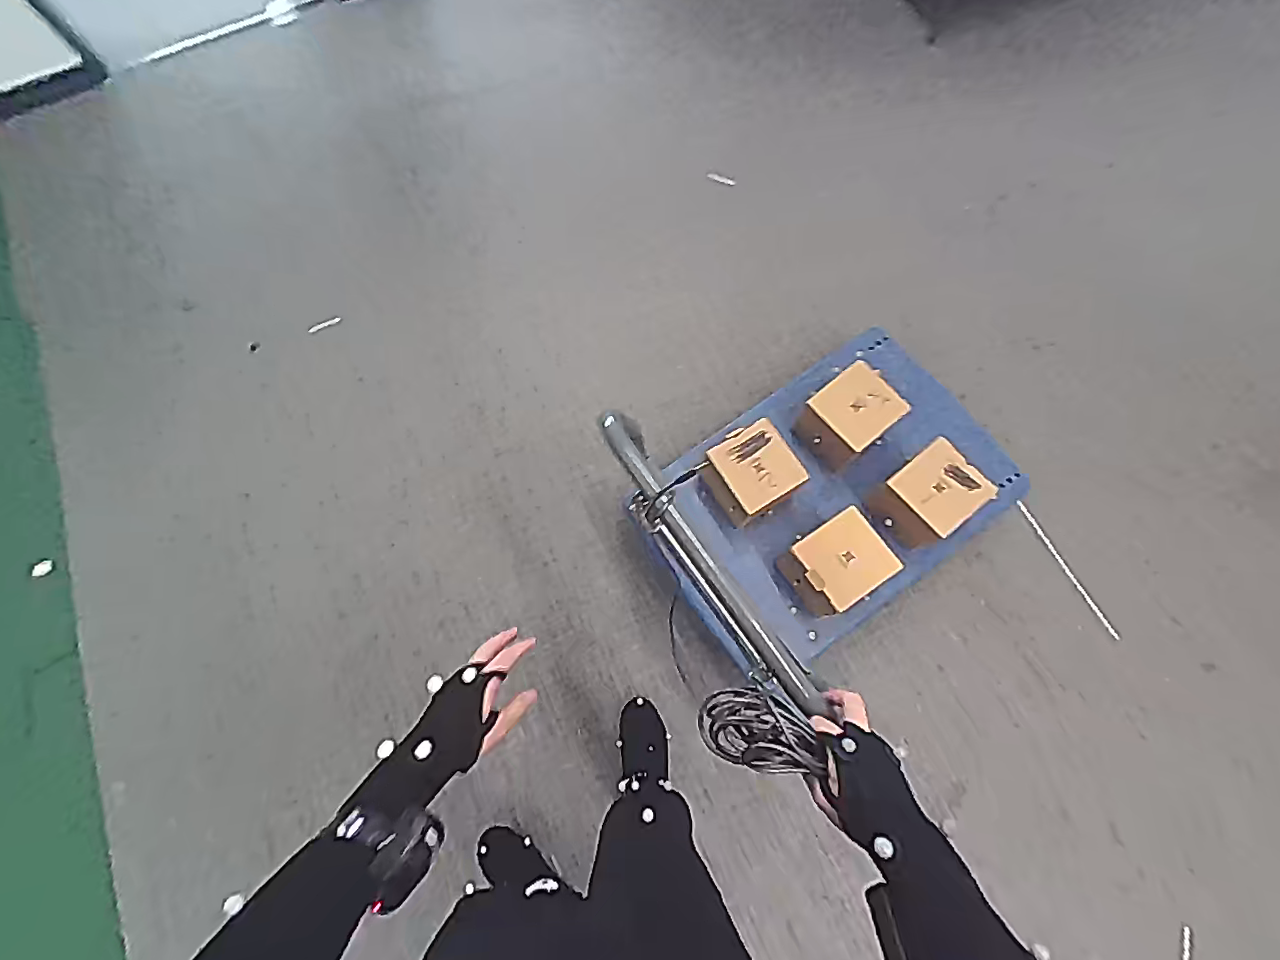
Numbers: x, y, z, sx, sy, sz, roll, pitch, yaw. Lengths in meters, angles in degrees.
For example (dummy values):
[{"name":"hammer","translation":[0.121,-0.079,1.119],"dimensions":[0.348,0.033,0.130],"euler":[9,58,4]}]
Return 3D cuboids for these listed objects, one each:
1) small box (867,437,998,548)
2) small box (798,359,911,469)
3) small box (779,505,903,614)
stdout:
[{"name":"small box","translation":[0.663,0.035,1.250],"dimensions":[0.179,0.176,0.168],"euler":[-38,75,-8]},{"name":"small box","translation":[0.506,-0.152,1.313],"dimensions":[0.179,0.176,0.168],"euler":[-38,76,-8]},{"name":"small box","translation":[0.440,0.184,1.217],"dimensions":[0.179,0.176,0.168],"euler":[-33,75,-7]}]
